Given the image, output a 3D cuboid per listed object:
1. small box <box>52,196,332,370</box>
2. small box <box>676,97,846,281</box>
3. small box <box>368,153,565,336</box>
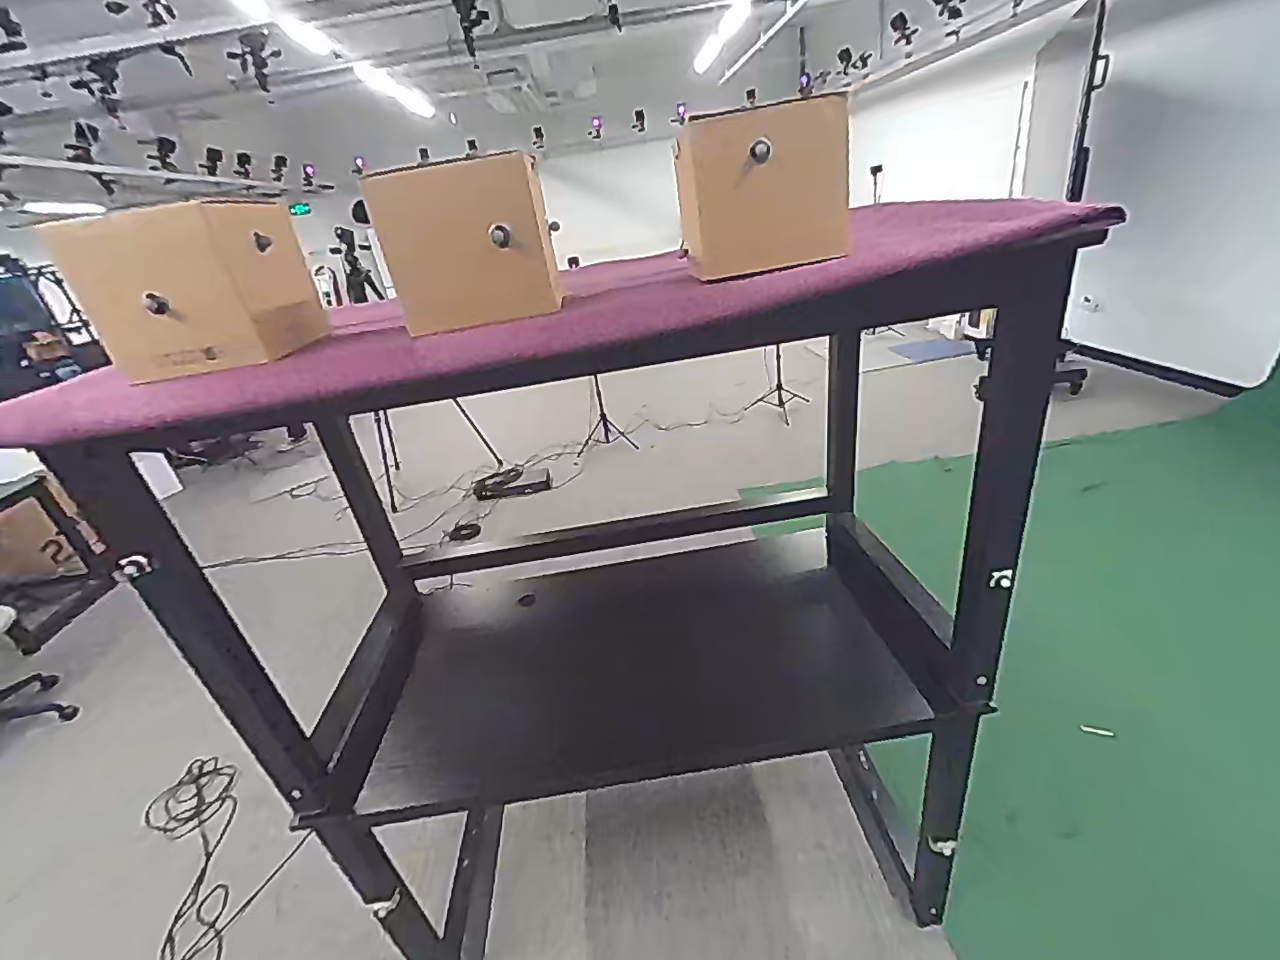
[{"bbox_3d":[-0.510,-0.237,0.655,0.168,0.176,0.179,-8,26,-2],"label":"small box"},{"bbox_3d":[0.149,-0.355,0.688,0.179,0.176,0.168,-8,24,1],"label":"small box"},{"bbox_3d":[-0.193,-0.287,0.666,0.179,0.176,0.168,-10,26,-1],"label":"small box"}]
